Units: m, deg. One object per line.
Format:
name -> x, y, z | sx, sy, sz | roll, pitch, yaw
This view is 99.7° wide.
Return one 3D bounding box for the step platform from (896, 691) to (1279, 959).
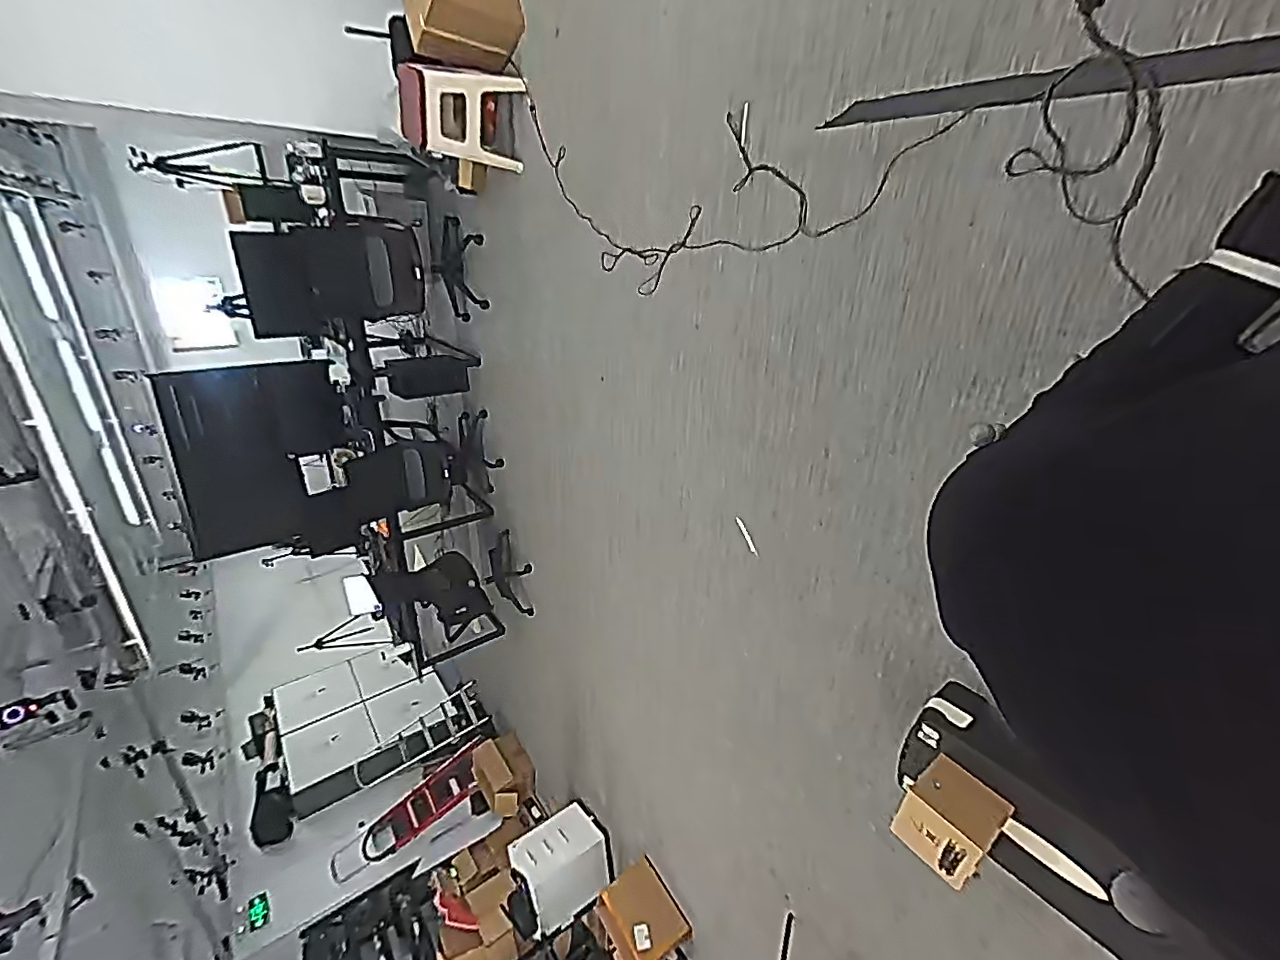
step platform -> 0.977, 0.838, 1.284 | 0.684, 0.204, 0.286 | 29, 126, 45
